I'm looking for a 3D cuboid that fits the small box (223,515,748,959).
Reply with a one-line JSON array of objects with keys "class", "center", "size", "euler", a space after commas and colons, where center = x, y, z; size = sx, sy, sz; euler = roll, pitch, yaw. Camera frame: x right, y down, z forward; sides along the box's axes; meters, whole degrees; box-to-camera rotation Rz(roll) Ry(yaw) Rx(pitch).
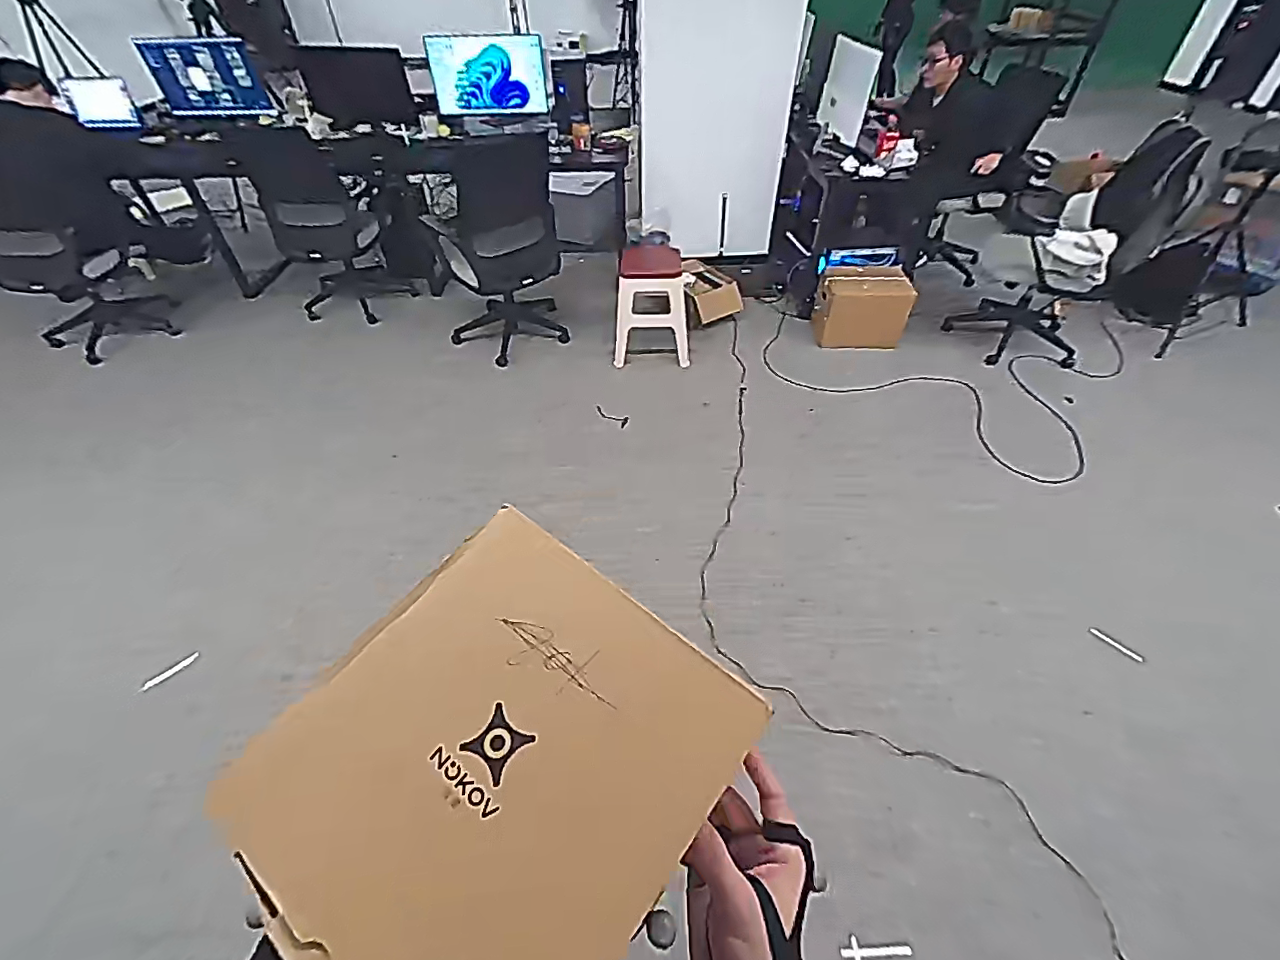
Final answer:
[{"class": "small box", "center": [-0.061, 0.160, 0.303], "size": [0.168, 0.176, 0.179], "euler": [32, 63, 21]}]
